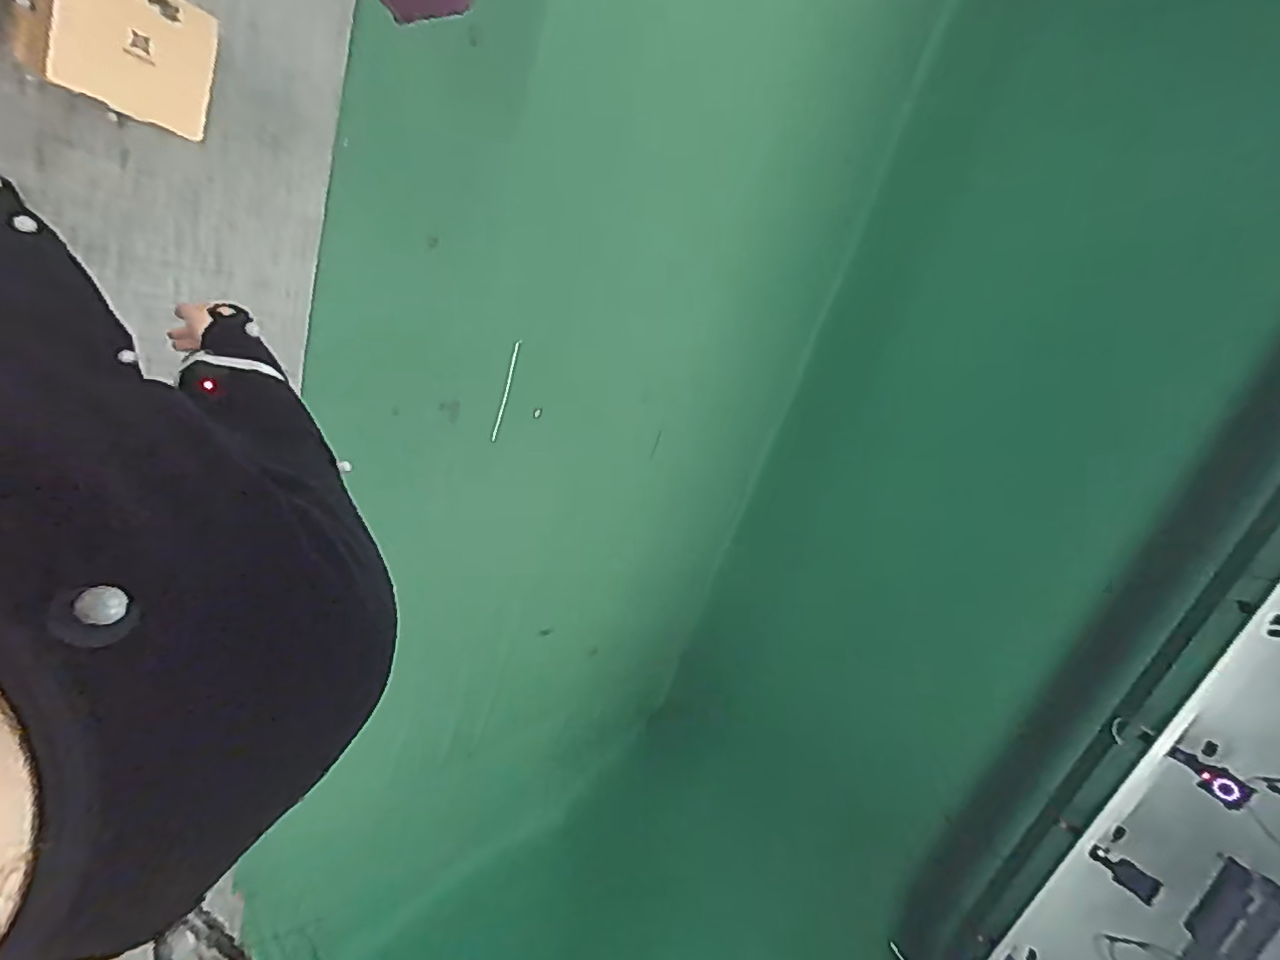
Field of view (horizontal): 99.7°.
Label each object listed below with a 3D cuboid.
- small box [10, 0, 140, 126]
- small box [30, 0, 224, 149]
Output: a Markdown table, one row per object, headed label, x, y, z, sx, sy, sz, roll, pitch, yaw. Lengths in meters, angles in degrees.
| label | x | y | z | sx | sy | sz | roll | pitch | yaw |
| --- | --- | --- | --- | --- | --- | --- | --- | --- | --- |
| small box | -0.873 | -0.700 | 0.872 | 0.168 | 0.176 | 0.179 | 8 | 107 | -57 |
| small box | -0.750 | -0.625 | 0.789 | 0.168 | 0.176 | 0.179 | 1 | 116 | -57 |
